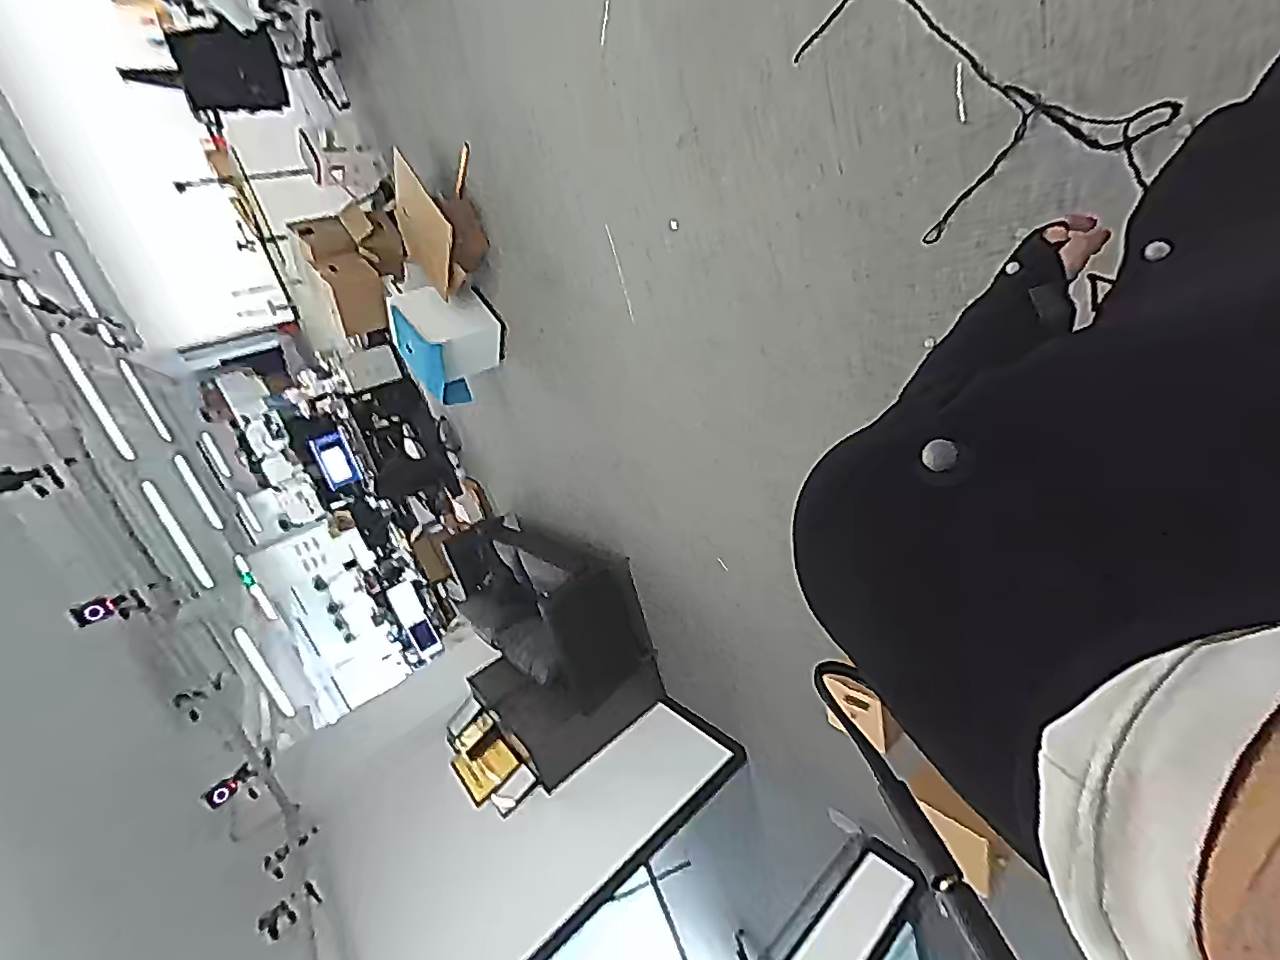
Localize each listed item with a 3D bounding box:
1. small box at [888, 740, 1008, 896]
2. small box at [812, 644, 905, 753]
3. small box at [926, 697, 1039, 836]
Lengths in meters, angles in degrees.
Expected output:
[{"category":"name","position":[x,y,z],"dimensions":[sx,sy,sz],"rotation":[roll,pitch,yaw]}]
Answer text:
[{"category":"small box","position":[0.640,0.691,1.123],"dimensions":[0.168,0.176,0.179],"rotation":[15,125,50]},{"category":"small box","position":[0.582,0.568,1.433],"dimensions":[0.168,0.176,0.179],"rotation":[14,124,51]},{"category":"small box","position":[0.764,0.630,1.208],"dimensions":[0.168,0.176,0.179],"rotation":[14,124,50]}]
